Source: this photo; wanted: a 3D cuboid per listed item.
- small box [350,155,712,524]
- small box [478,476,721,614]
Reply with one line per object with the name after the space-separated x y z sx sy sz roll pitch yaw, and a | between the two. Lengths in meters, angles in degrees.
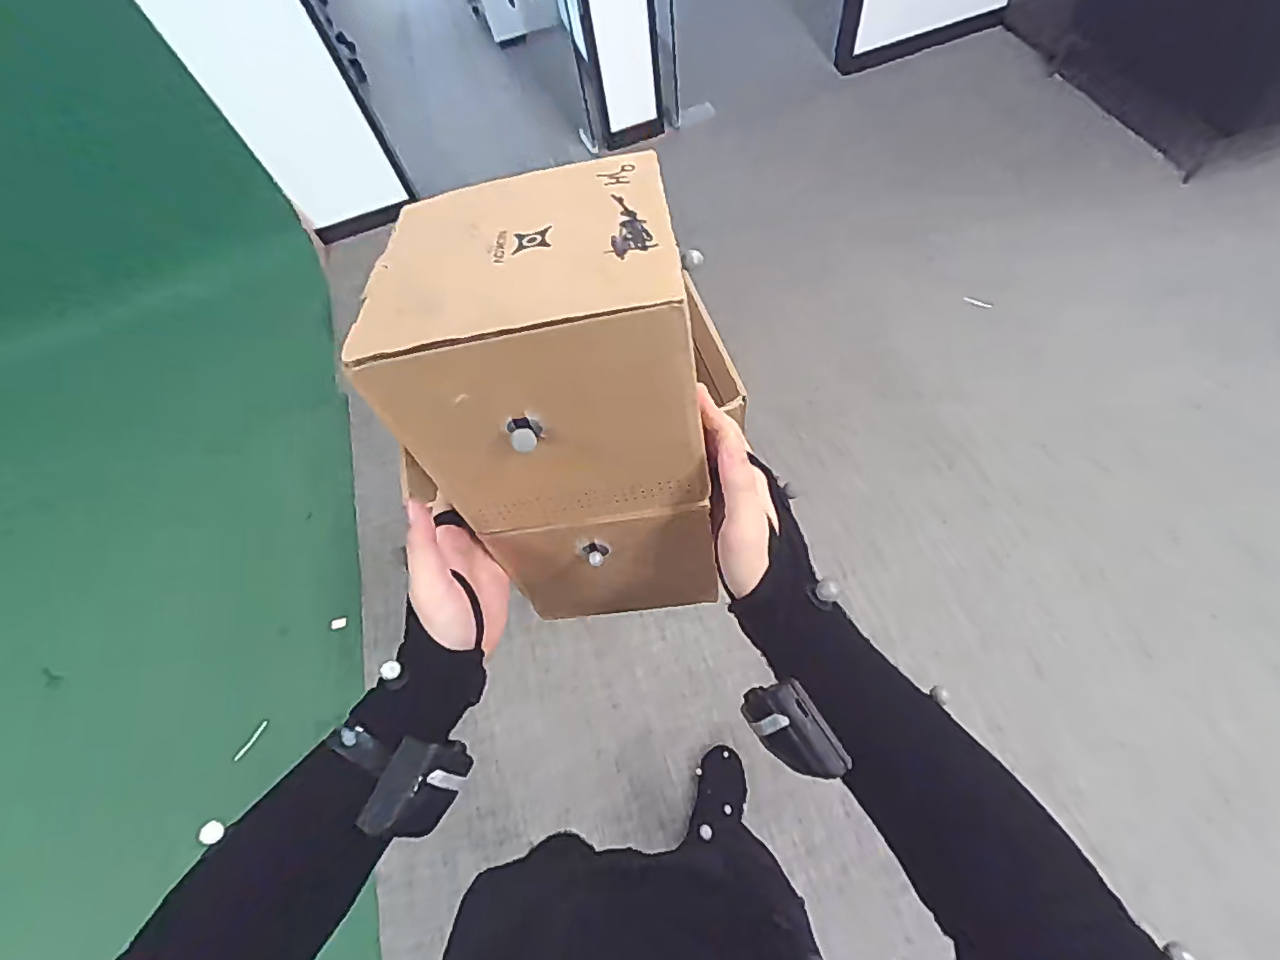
-0.053 -0.086 0.375 0.179 0.176 0.168 -10 53 6 | small box
-0.025 0.013 0.502 0.179 0.176 0.168 -7 52 6 | small box
